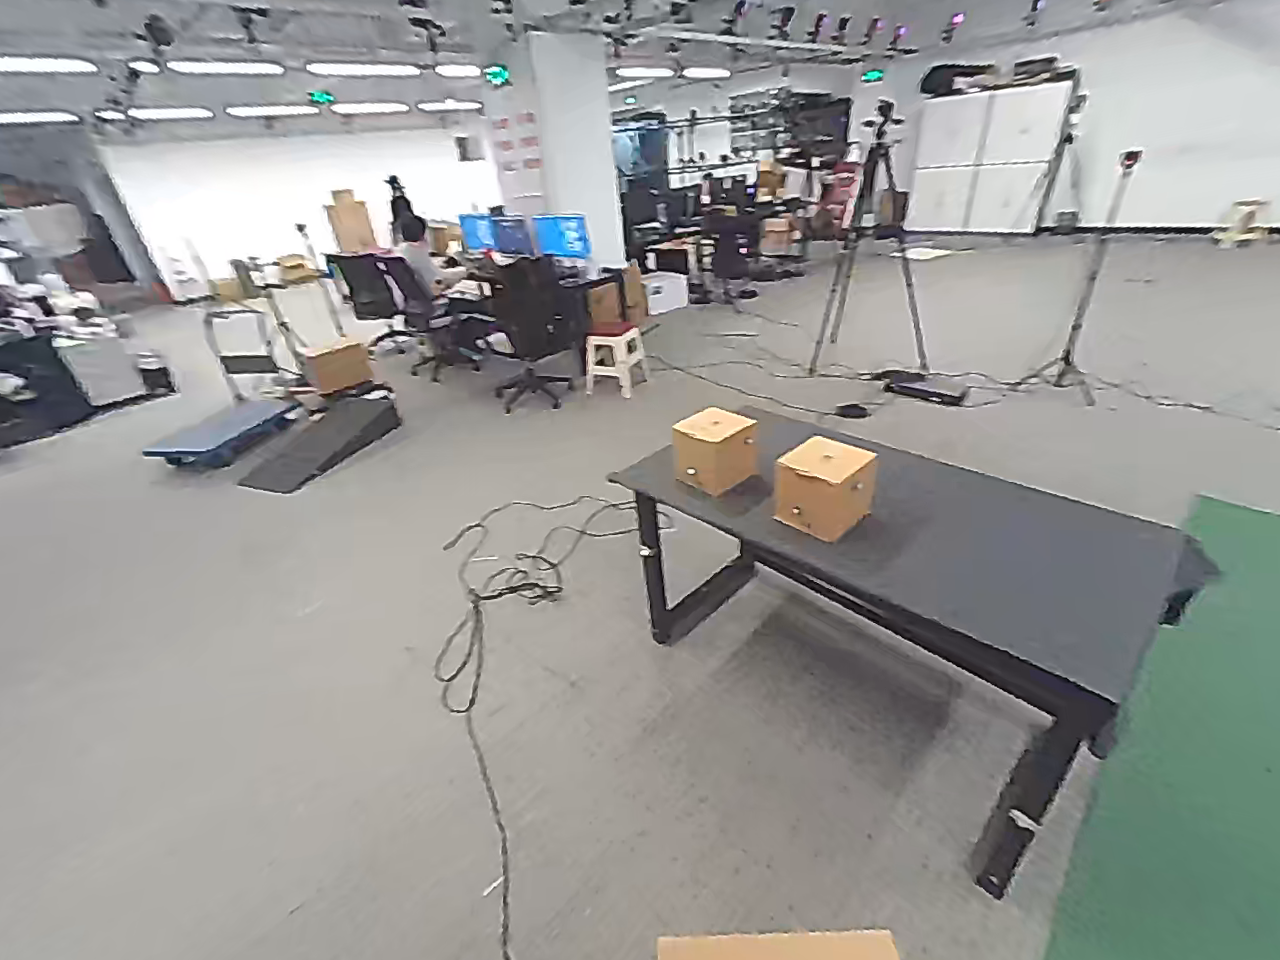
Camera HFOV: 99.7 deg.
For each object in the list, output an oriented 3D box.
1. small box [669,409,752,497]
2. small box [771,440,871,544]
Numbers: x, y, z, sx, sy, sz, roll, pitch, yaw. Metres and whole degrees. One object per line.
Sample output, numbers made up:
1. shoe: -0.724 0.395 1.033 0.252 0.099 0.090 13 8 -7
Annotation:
1. small box: 0.198 -0.079 1.534 0.179 0.176 0.168 -27 37 -33
2. small box: 0.436 0.026 1.328 0.179 0.176 0.168 -28 38 -34
